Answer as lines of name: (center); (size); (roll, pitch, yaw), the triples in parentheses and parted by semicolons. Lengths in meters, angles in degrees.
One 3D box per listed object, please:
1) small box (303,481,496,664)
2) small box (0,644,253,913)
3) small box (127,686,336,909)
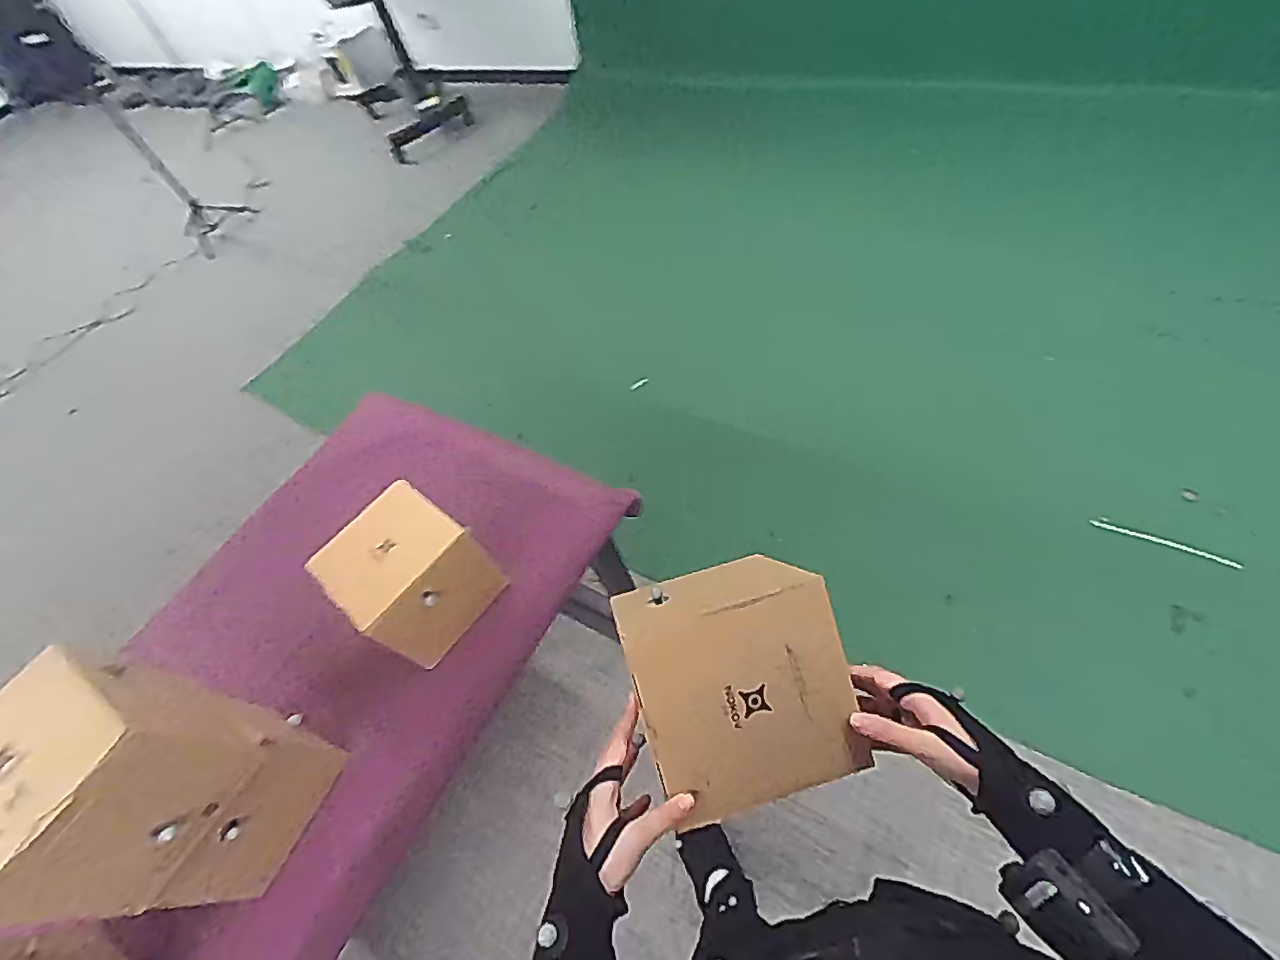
small box: (-0.339, 0.141, 0.805); (0.168, 0.176, 0.179); (30, 69, 29)
small box: (-0.552, 0.298, 0.542); (0.179, 0.176, 0.168); (22, 63, 24)
small box: (-0.532, 0.391, 0.677); (0.168, 0.176, 0.179); (15, 60, 21)
